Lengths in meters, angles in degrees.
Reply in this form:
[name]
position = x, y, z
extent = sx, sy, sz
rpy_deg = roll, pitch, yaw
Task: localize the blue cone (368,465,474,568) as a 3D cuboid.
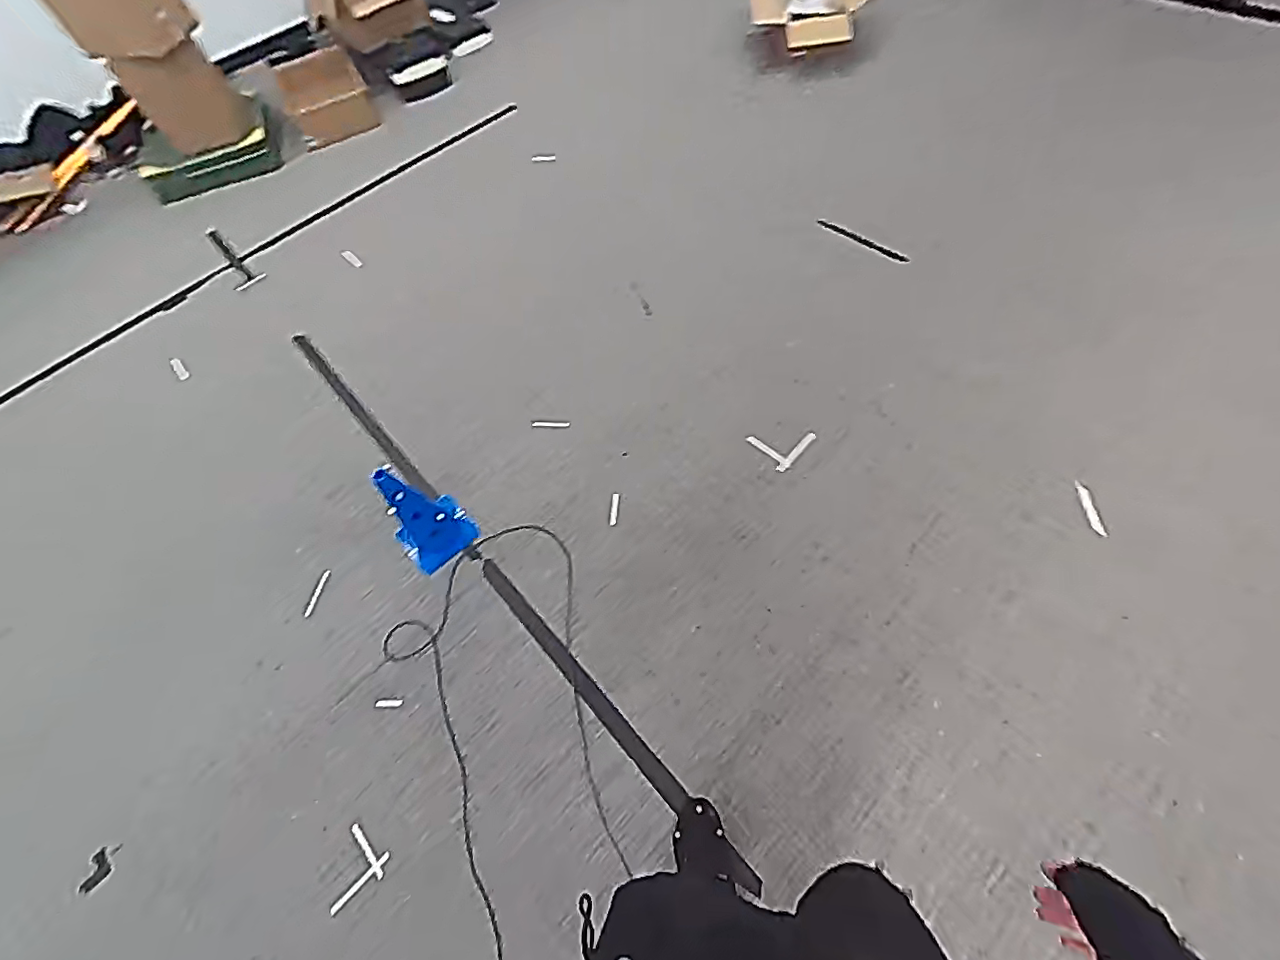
[blue cone]
position = -0.623, 0.074, 1.474
extent = 0.193, 0.380, 0.192
rpy_deg = -42, 65, -16
